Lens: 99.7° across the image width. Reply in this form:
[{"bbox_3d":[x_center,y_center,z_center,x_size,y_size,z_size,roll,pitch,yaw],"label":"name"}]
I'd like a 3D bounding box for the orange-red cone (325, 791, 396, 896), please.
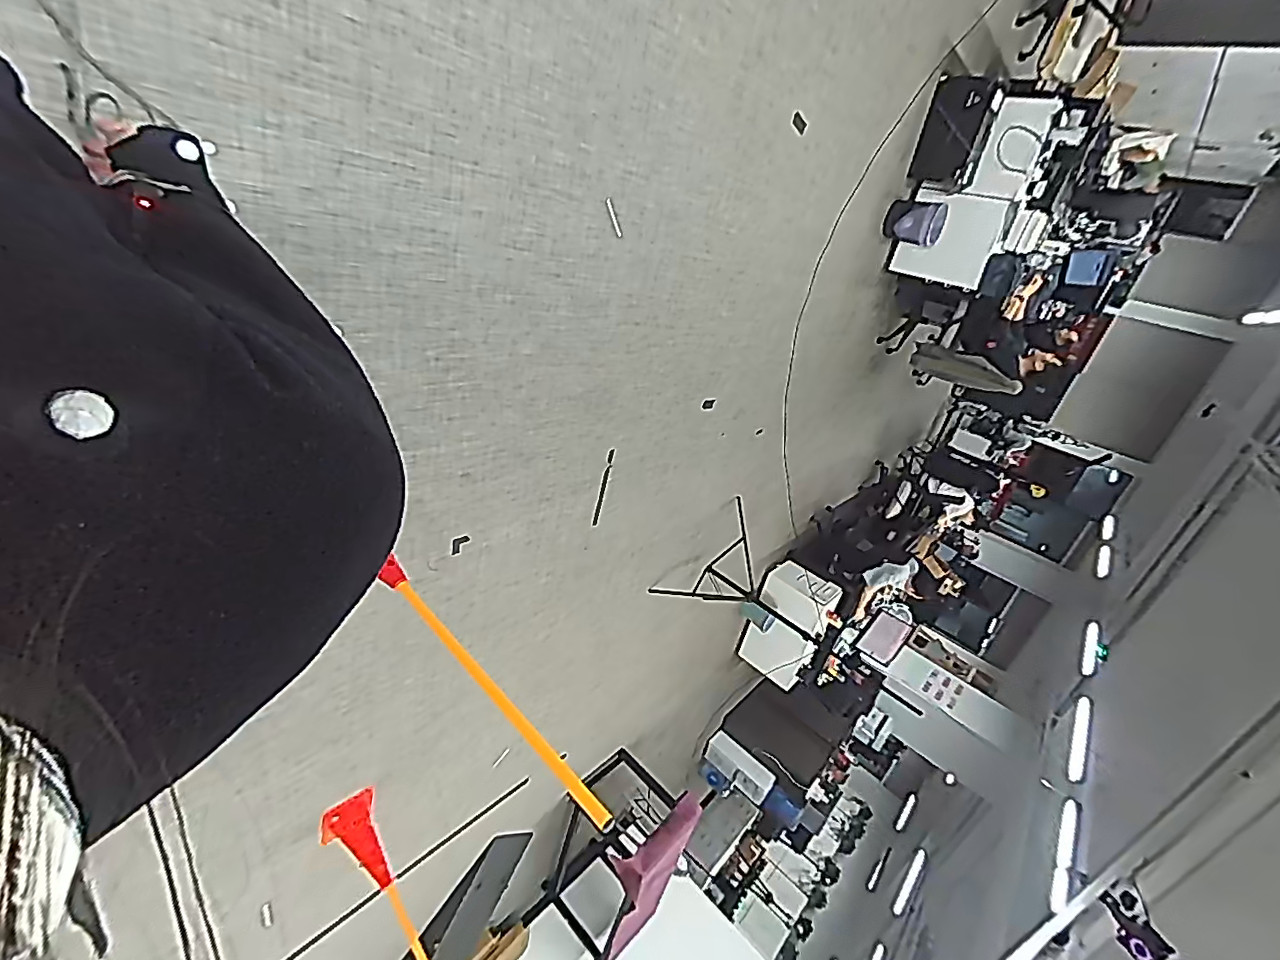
[{"bbox_3d":[-1.043,1.444,2.092,0.198,0.360,0.199,-12,126,-48],"label":"orange-red cone"}]
